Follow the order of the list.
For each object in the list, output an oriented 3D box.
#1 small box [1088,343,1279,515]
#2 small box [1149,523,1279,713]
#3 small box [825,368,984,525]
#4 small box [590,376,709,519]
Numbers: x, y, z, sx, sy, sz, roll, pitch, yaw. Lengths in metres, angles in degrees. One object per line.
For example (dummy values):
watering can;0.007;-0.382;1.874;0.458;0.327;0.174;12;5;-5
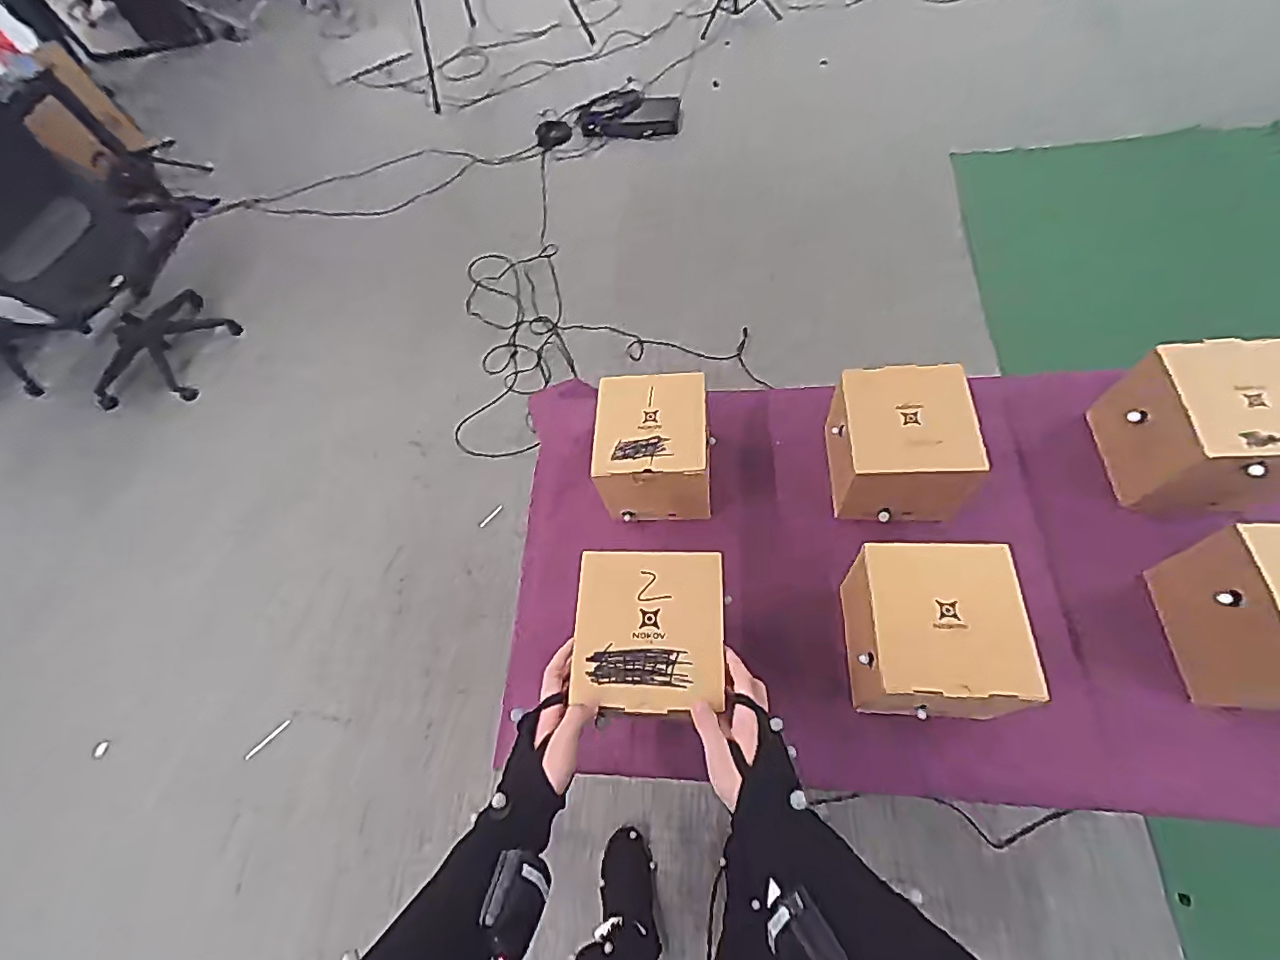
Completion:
small box;0.776;-0.065;0.749;0.168;0.176;0.179;-2;62;10
small box;0.754;0.165;0.625;0.168;0.176;0.179;0;61;11
small box;0.378;-0.046;0.811;0.168;0.176;0.179;-1;63;10
small box;0.025;-0.044;0.868;0.168;0.176;0.179;-1;61;8
